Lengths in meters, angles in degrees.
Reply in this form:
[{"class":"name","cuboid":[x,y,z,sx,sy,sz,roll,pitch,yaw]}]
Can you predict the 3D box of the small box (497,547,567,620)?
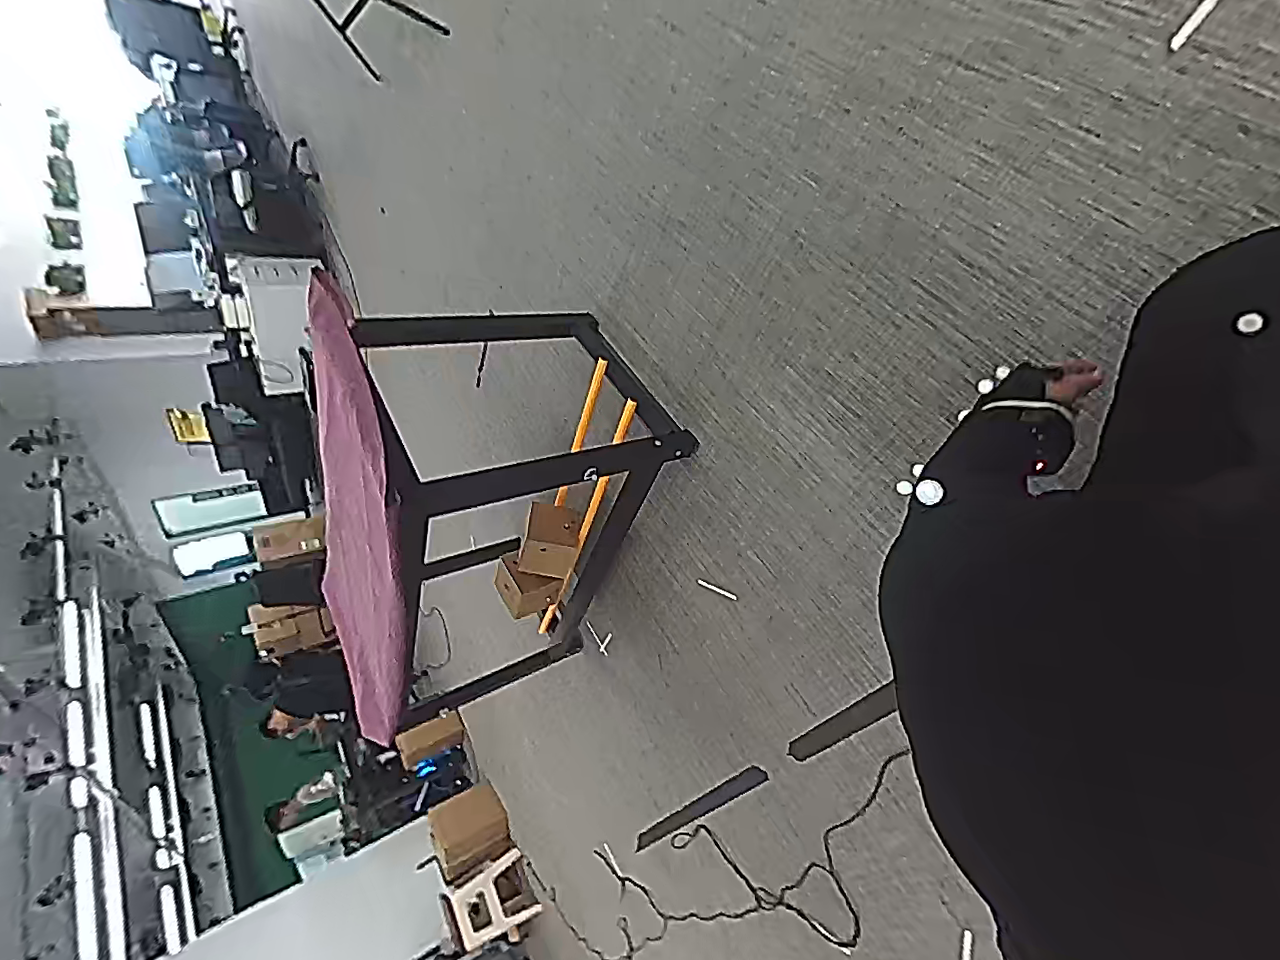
[{"class":"small box","cuboid":[-0.383,0.357,1.912,0.179,0.176,0.168,50,138,28]}]
